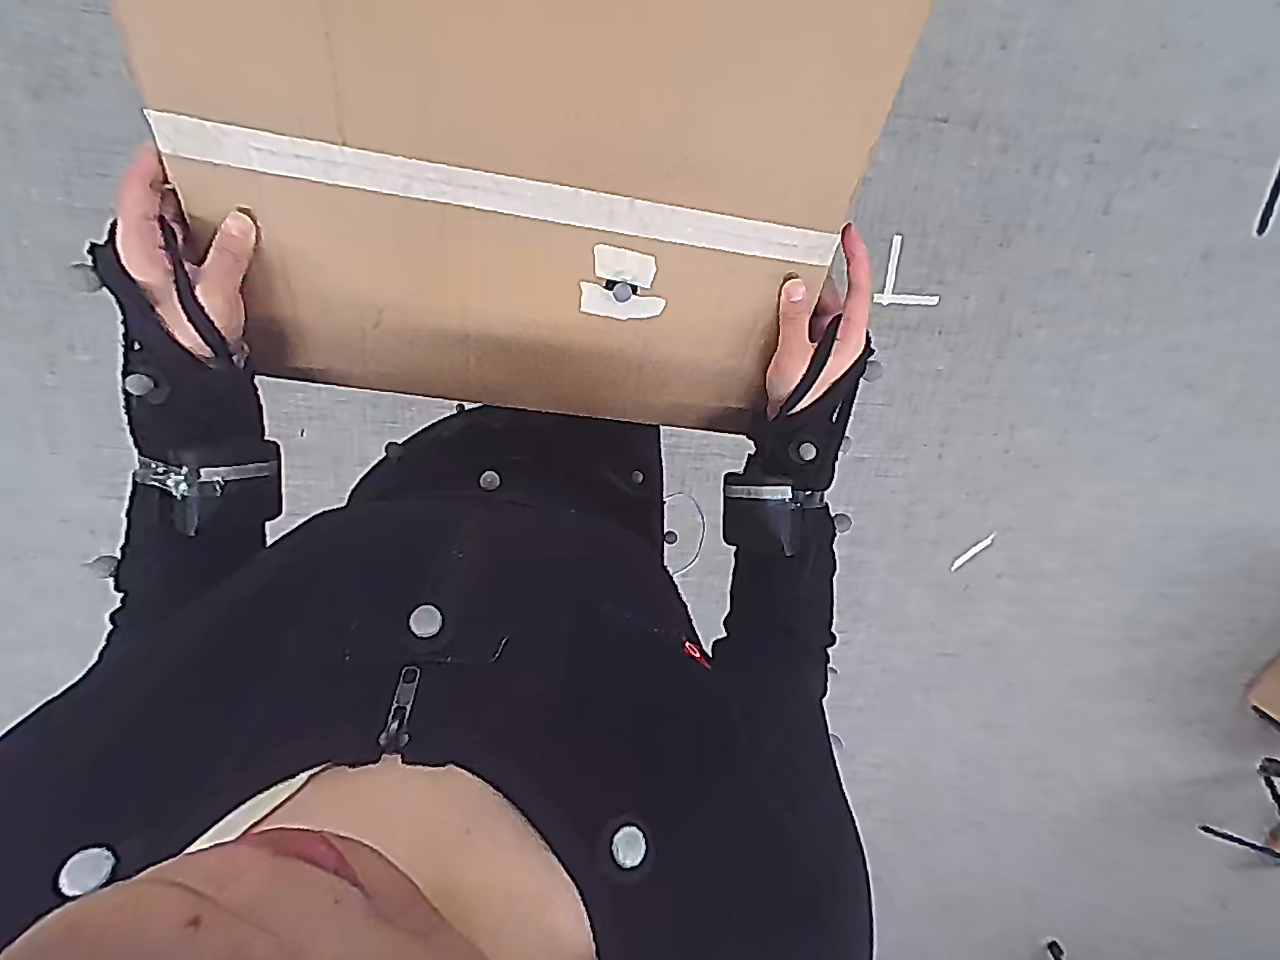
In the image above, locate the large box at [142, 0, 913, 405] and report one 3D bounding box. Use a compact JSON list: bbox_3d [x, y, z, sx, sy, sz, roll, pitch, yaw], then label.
[{"bbox_3d":[-0.076,-0.290,0.444,0.408,0.320,0.320,5,131,-9],"label":"large box"}]
